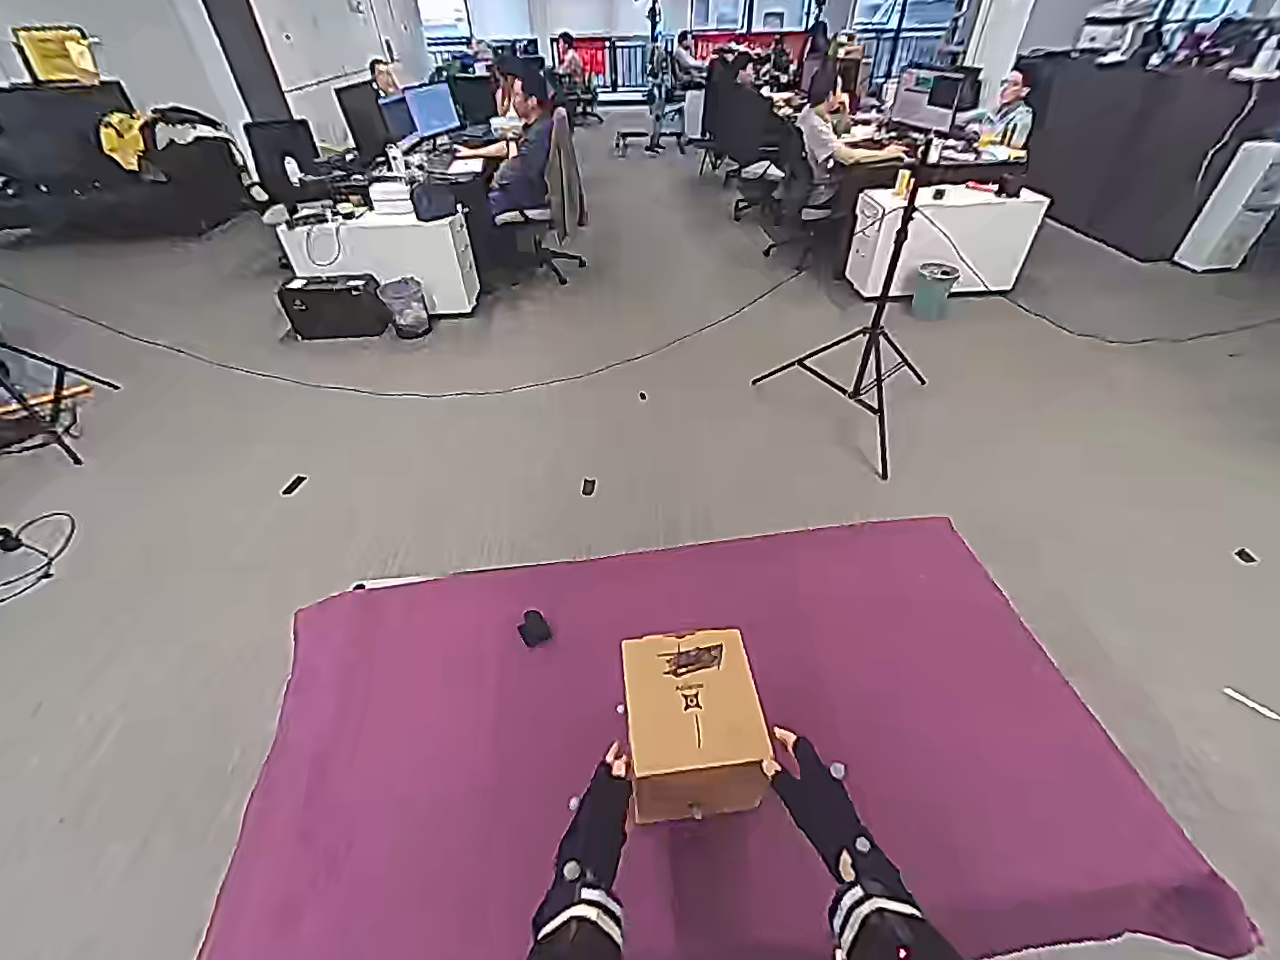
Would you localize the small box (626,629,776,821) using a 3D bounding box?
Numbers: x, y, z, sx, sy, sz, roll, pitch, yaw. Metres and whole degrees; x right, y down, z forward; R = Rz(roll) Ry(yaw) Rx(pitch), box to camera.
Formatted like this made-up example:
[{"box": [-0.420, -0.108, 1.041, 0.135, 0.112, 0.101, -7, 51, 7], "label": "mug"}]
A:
[{"box": [0.070, 0.330, 0.733, 0.168, 0.176, 0.179, -5, 42, -4], "label": "small box"}]
